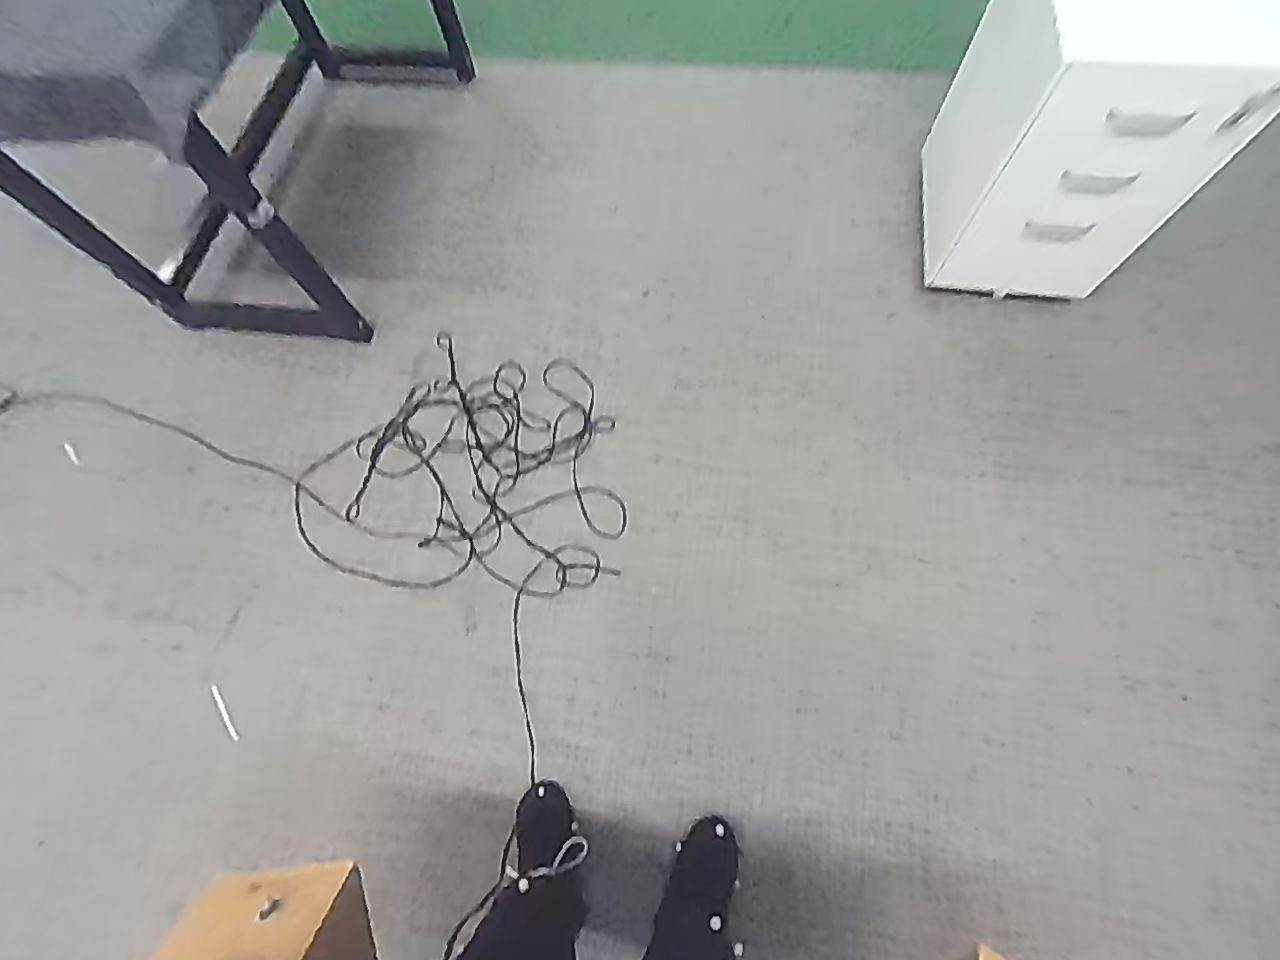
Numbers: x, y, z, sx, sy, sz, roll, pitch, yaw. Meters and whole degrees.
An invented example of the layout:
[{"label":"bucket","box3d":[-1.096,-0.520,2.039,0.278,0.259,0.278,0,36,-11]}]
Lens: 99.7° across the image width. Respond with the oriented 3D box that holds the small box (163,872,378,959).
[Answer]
[{"label":"small box","box3d":[-0.393,0.558,0.559,0.168,0.176,0.179,-8,99,-1]}]
